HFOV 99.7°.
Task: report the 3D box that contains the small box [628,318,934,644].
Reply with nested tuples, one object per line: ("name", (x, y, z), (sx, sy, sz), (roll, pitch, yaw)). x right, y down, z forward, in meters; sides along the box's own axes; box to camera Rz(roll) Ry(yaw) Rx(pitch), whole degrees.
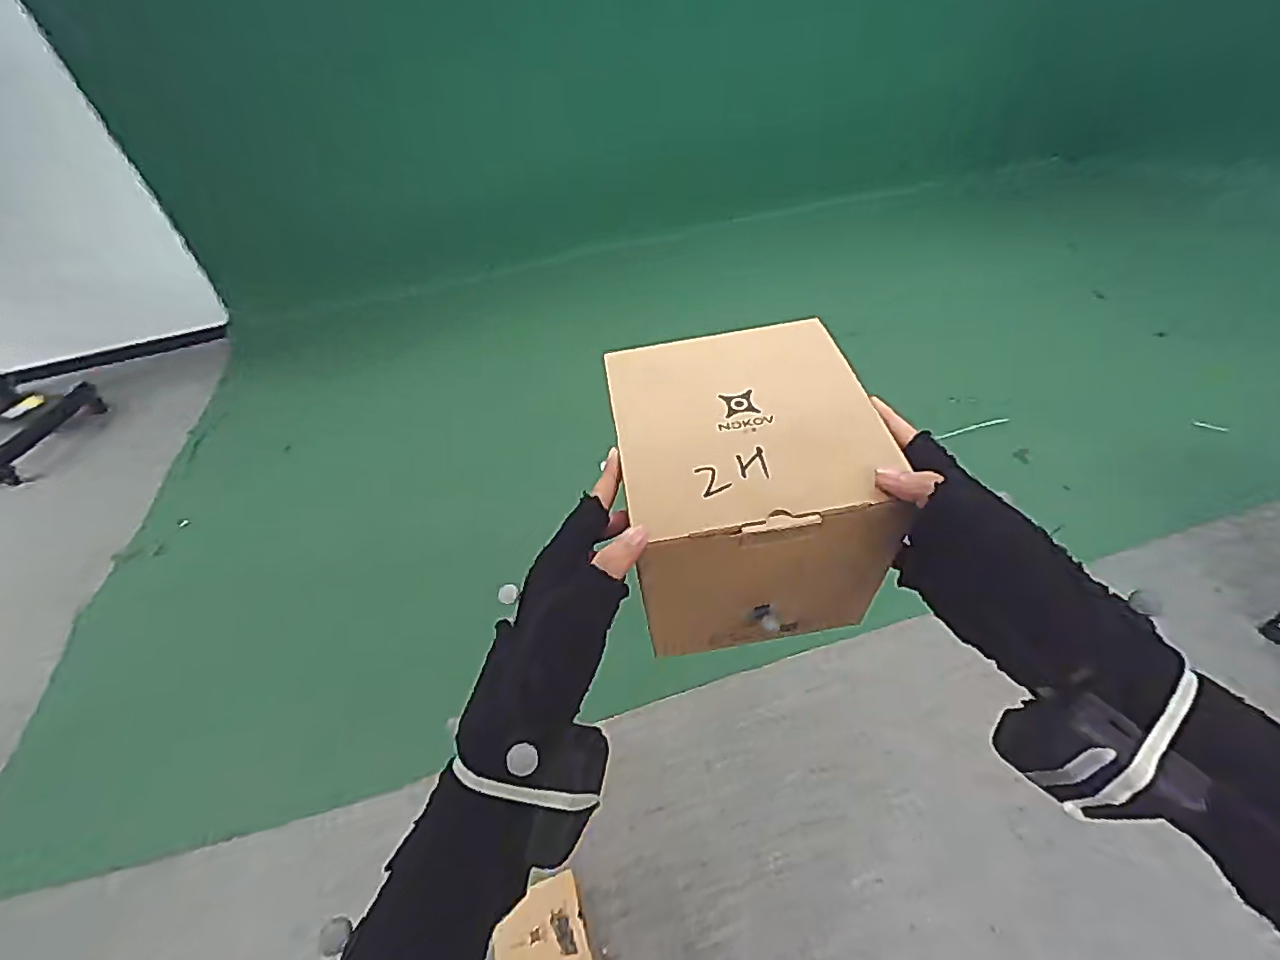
("small box", (0.085, 0.003, 0.420), (0.168, 0.176, 0.179), (-9, 50, 0))

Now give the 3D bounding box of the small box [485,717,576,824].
("small box", (-0.269, 0.719, 1.332), (0.179, 0.176, 0.168), (-14, 45, -7))

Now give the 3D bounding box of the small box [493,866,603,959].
("small box", (-0.181, 0.928, 1.101), (0.179, 0.176, 0.168), (-18, 45, -10))
